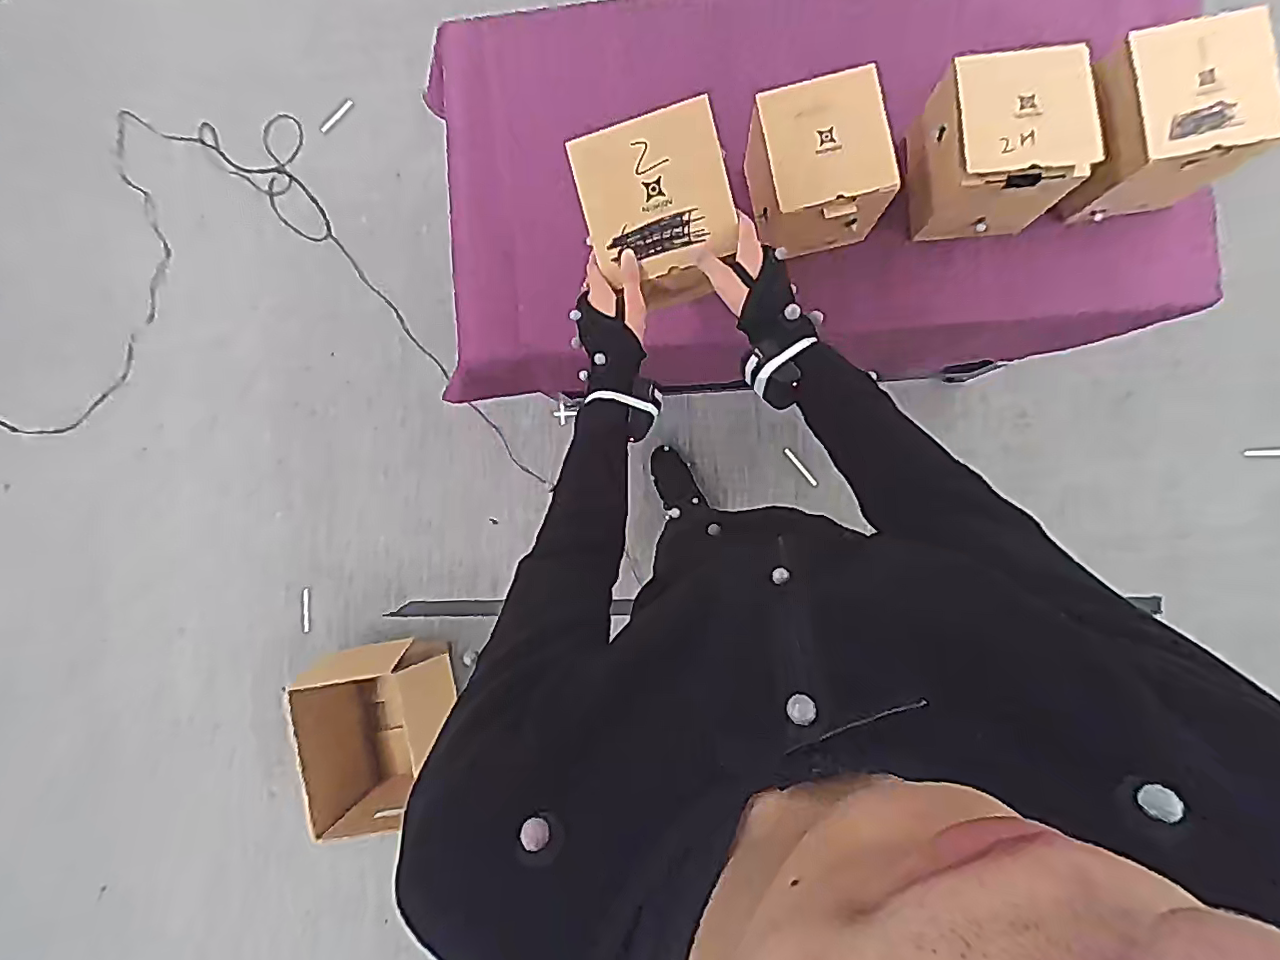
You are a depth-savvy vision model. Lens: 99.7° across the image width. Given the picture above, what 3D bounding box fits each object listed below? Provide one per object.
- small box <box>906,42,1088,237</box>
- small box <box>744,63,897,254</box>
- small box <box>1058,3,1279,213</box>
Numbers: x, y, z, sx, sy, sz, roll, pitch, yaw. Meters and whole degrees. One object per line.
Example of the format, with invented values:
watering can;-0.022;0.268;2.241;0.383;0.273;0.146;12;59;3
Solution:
small box;0.504;-0.481;0.788;0.168;0.176;0.179;-2;89;6
small box;0.260;-0.463;0.814;0.168;0.176;0.179;-12;88;5
small box;0.722;-0.505;0.767;0.168;0.176;0.179;-8;88;6
